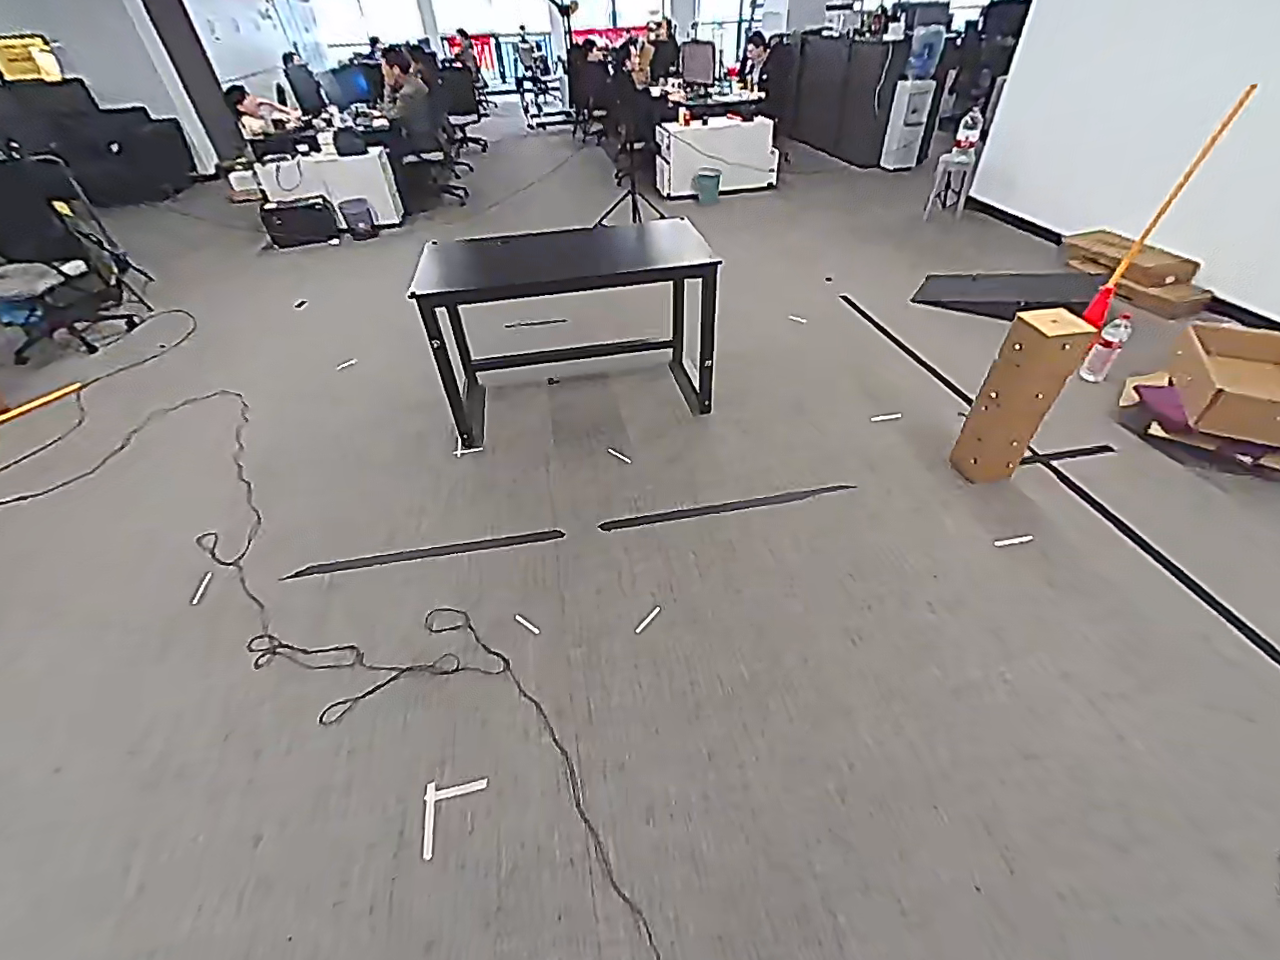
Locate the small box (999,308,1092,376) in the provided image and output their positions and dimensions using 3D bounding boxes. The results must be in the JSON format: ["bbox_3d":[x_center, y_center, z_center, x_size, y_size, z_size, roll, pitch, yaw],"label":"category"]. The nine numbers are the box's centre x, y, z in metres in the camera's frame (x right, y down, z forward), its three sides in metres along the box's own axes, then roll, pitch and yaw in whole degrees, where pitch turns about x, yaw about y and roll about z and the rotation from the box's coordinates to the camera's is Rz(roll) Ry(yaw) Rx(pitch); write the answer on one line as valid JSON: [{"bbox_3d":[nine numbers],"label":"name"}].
[{"bbox_3d":[1.378,-0.470,1.858,0.179,0.176,0.168,-7,42,-5],"label":"small box"}]

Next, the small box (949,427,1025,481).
[{"bbox_3d":[1.400,-0.109,2.193,0.168,0.176,0.179,-9,41,-7],"label":"small box"}]

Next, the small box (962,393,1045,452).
[{"bbox_3d":[1.391,-0.230,2.083,0.179,0.176,0.168,-10,42,-8],"label":"small box"}]

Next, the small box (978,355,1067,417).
[{"bbox_3d":[1.384,-0.350,1.970,0.179,0.176,0.168,-11,42,-7],"label":"small box"}]
